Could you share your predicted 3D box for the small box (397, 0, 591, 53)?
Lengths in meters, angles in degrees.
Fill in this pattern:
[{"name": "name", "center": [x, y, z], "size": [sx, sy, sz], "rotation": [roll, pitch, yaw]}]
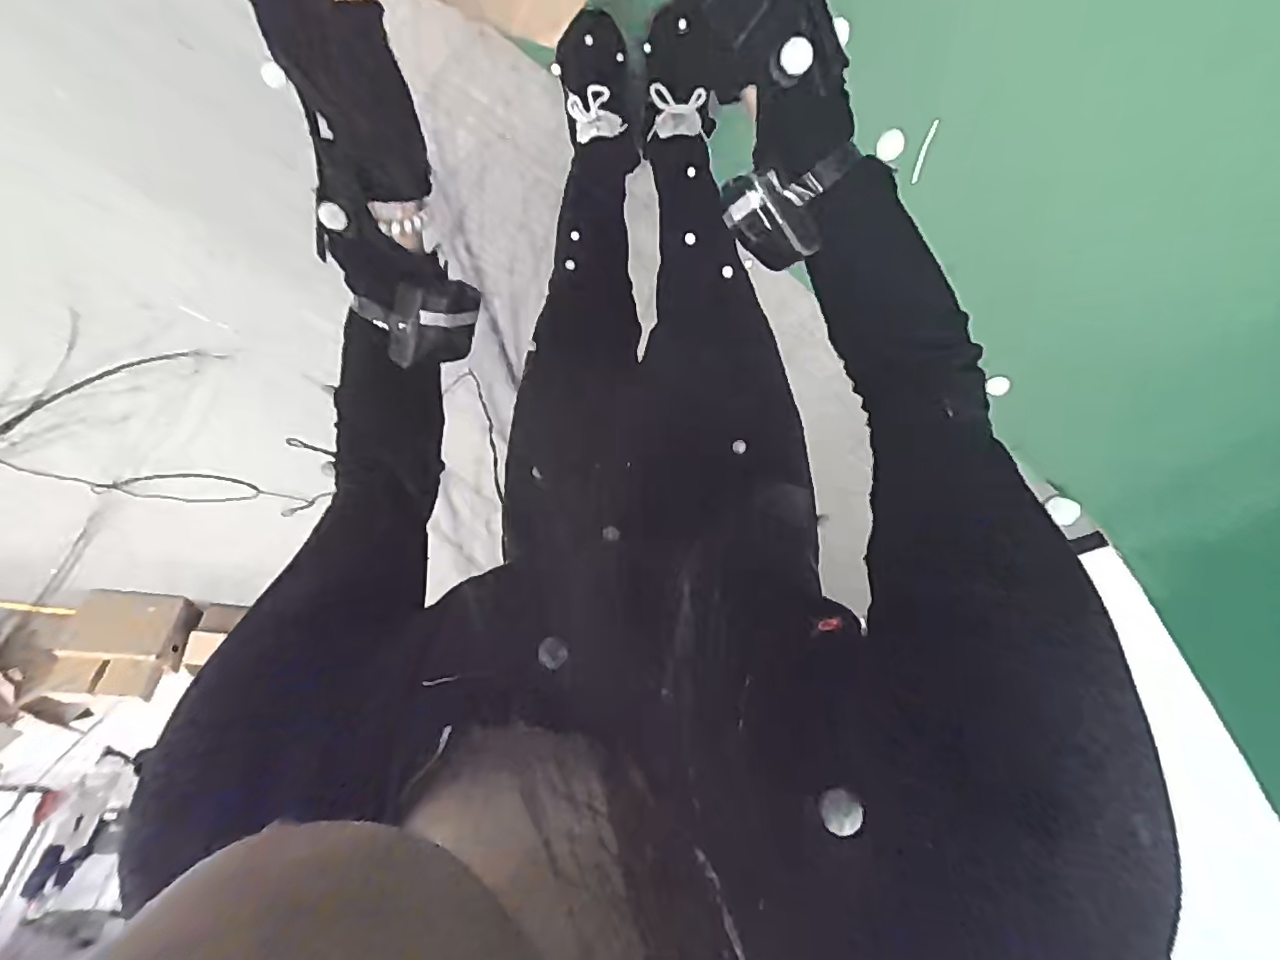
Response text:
[{"name": "small box", "center": [-0.080, -0.339, 0.220], "size": [0.168, 0.176, 0.179], "rotation": [-23, -173, -43]}]
